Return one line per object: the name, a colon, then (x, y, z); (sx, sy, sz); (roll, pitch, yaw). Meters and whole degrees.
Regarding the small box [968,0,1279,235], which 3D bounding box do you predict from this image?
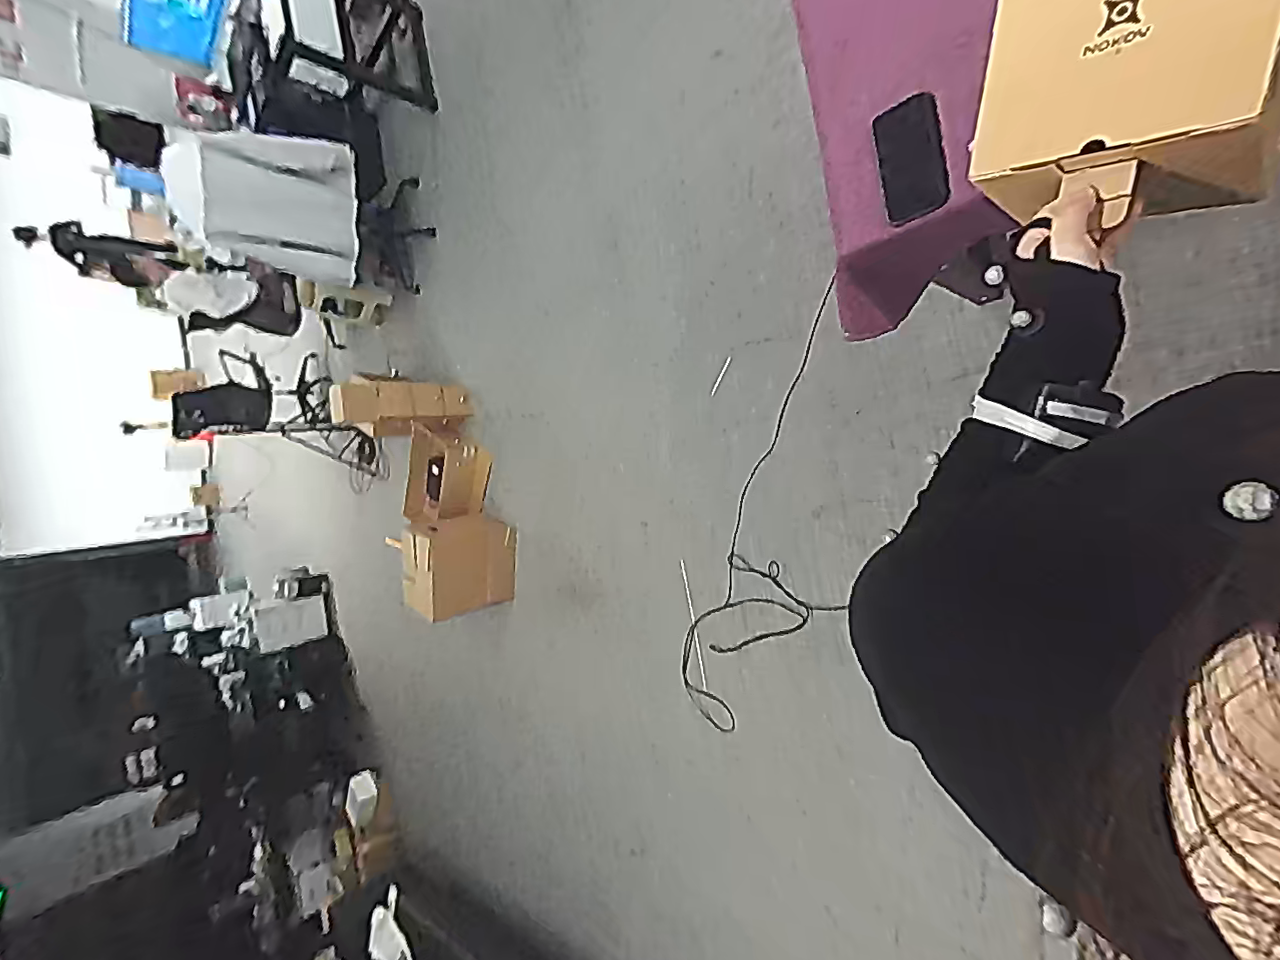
small box: (0.395, -0.319, 0.435); (0.168, 0.176, 0.179); (15, 104, 47)
